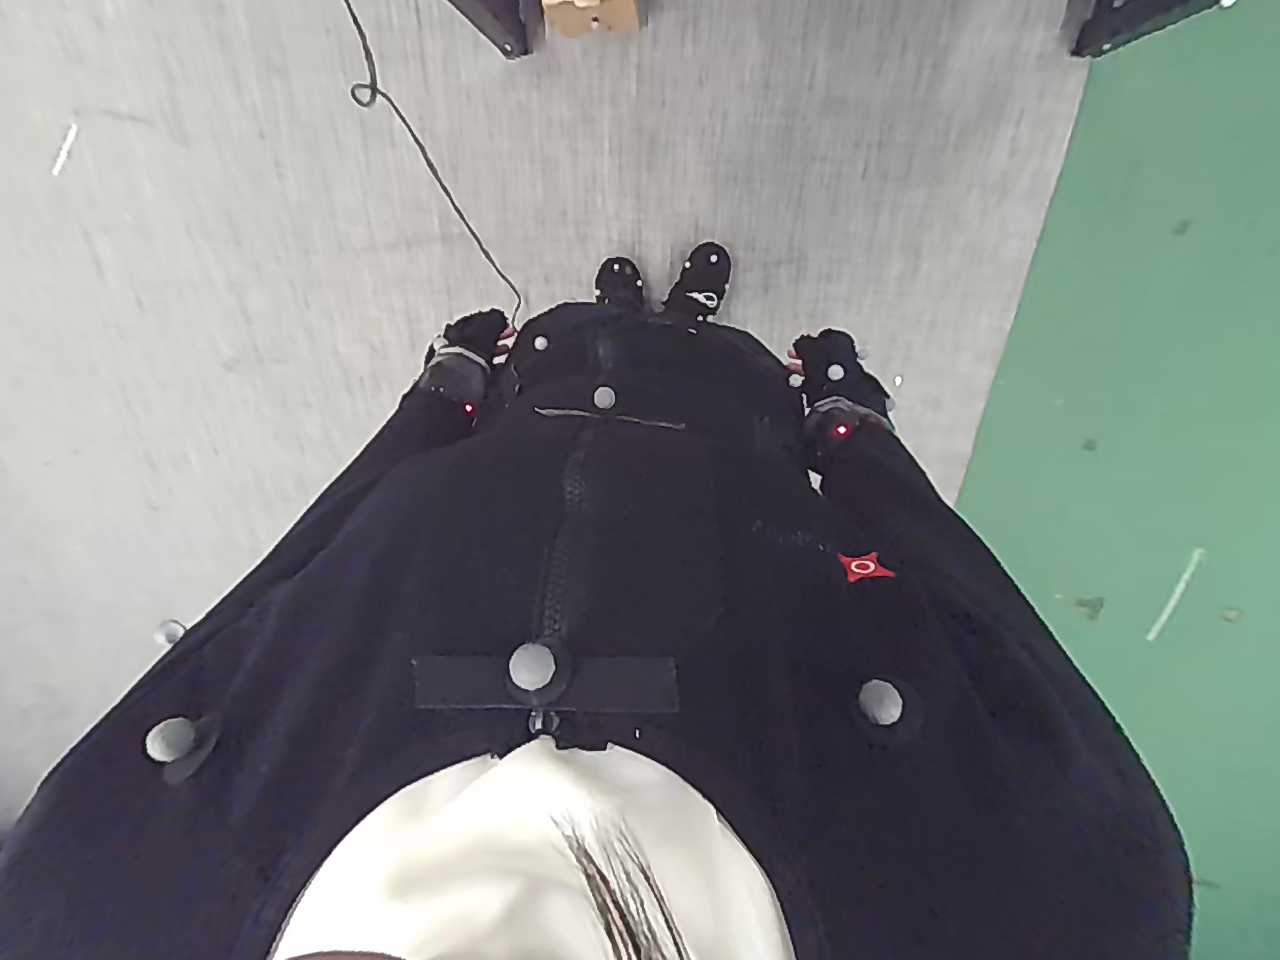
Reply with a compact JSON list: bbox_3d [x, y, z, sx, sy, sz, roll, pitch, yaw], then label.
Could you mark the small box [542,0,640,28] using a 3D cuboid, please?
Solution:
[{"bbox_3d":[-0.089,-0.955,0.983,0.168,0.176,0.179,0,115,5],"label":"small box"}]
